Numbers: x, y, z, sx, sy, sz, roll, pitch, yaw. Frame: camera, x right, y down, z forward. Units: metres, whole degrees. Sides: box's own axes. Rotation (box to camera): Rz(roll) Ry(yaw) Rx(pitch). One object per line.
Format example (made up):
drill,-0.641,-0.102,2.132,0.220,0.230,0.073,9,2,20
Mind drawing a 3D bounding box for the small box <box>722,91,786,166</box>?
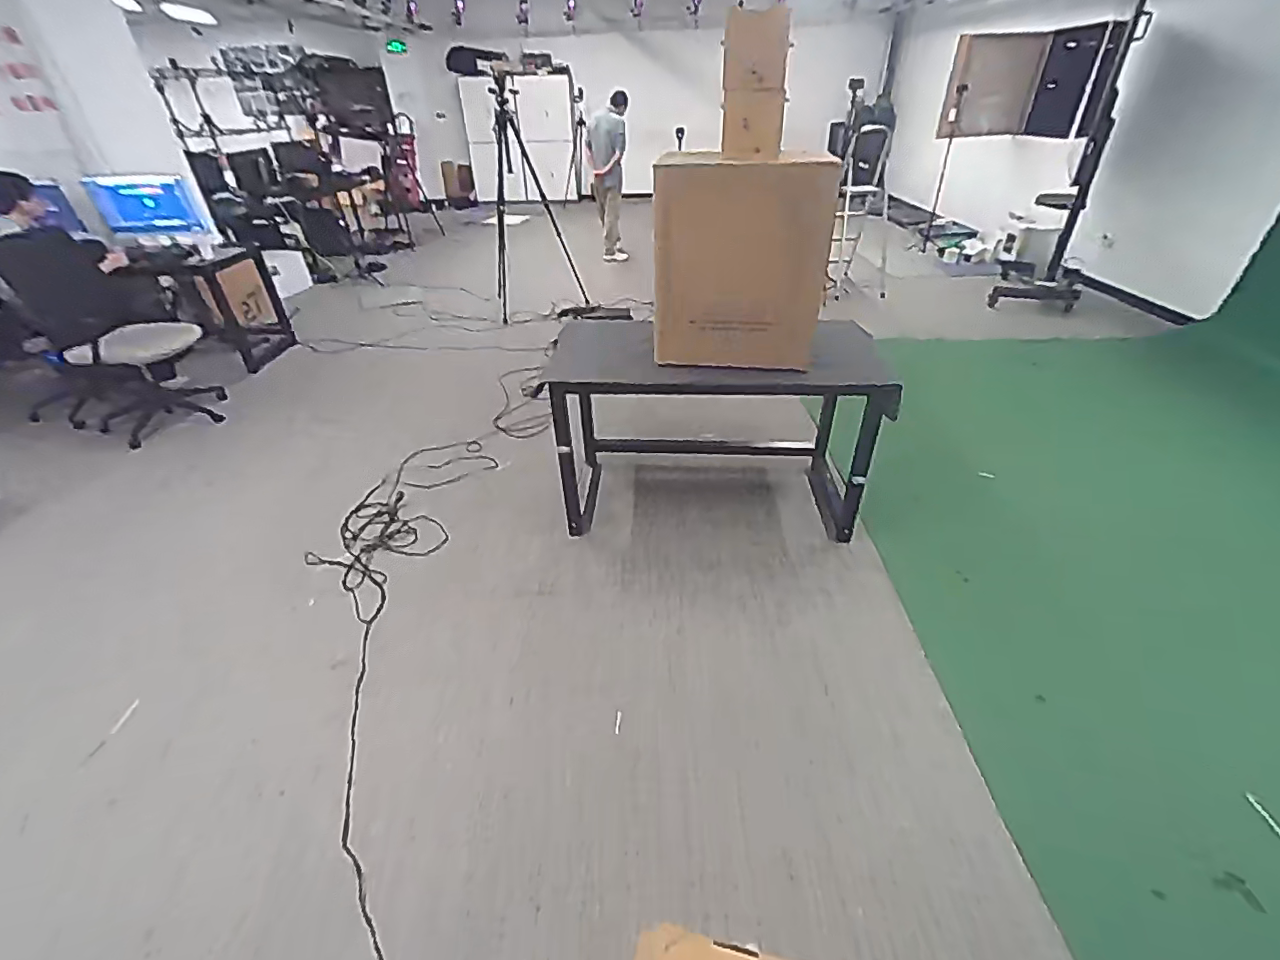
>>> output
small box,0.328,-1.014,1.563,0.168,0.176,0.179,6,37,10
